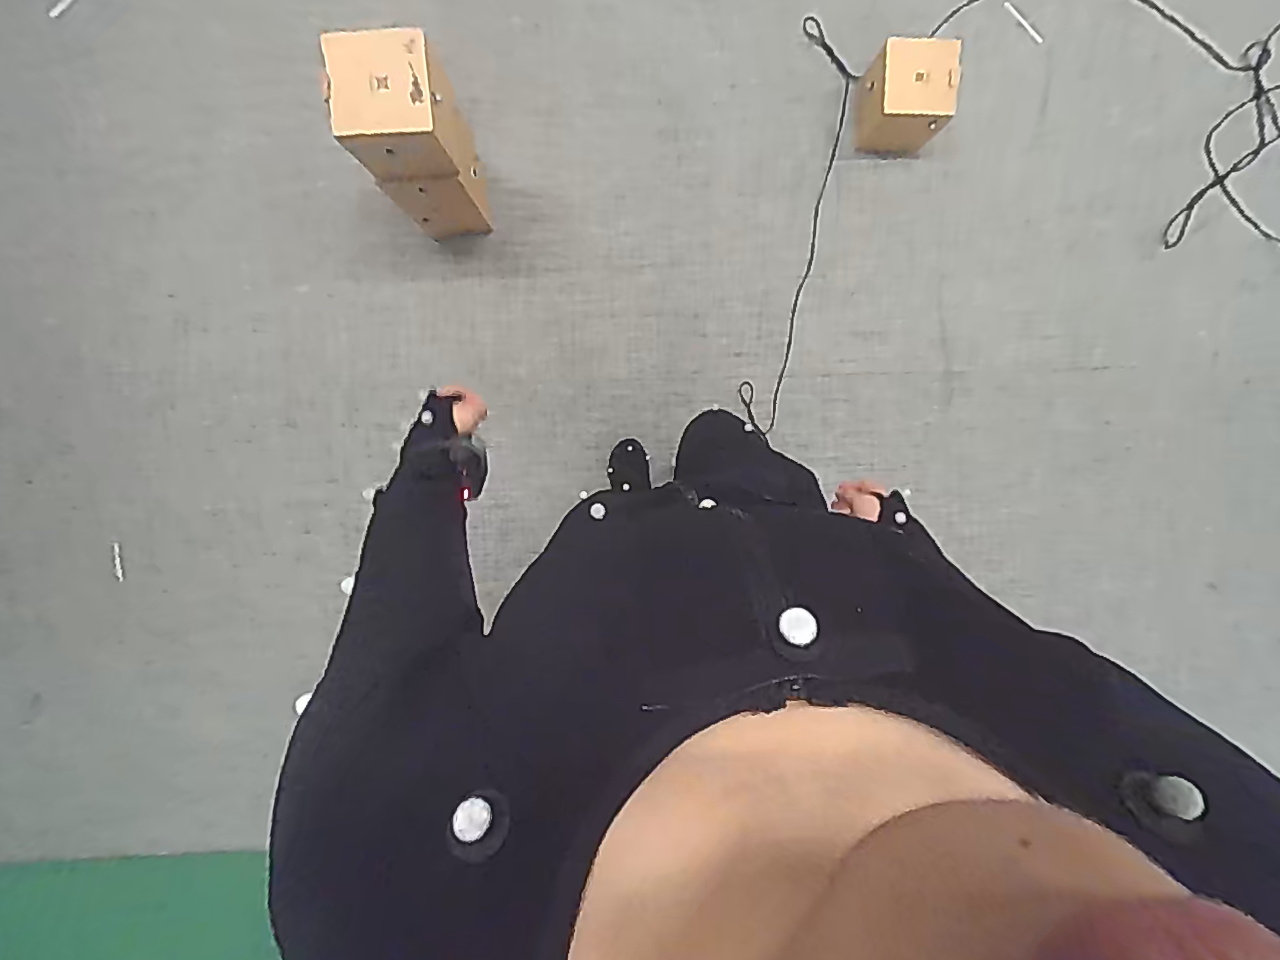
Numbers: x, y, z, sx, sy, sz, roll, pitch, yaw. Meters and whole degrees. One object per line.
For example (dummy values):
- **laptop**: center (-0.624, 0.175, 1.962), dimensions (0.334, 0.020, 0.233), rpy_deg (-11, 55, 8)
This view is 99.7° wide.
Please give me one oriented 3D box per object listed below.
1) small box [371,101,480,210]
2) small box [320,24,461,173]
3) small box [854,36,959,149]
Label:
- **small box**: center (-0.458, -0.696, 1.158), dimensions (0.179, 0.176, 0.168), rpy_deg (-4, 97, -2)
- **small box**: center (-0.449, -0.687, 0.995), dimensions (0.179, 0.176, 0.168), rpy_deg (-4, 97, 0)
- **small box**: center (0.640, -0.934, 1.317), dimensions (0.179, 0.176, 0.168), rpy_deg (0, 96, -2)
